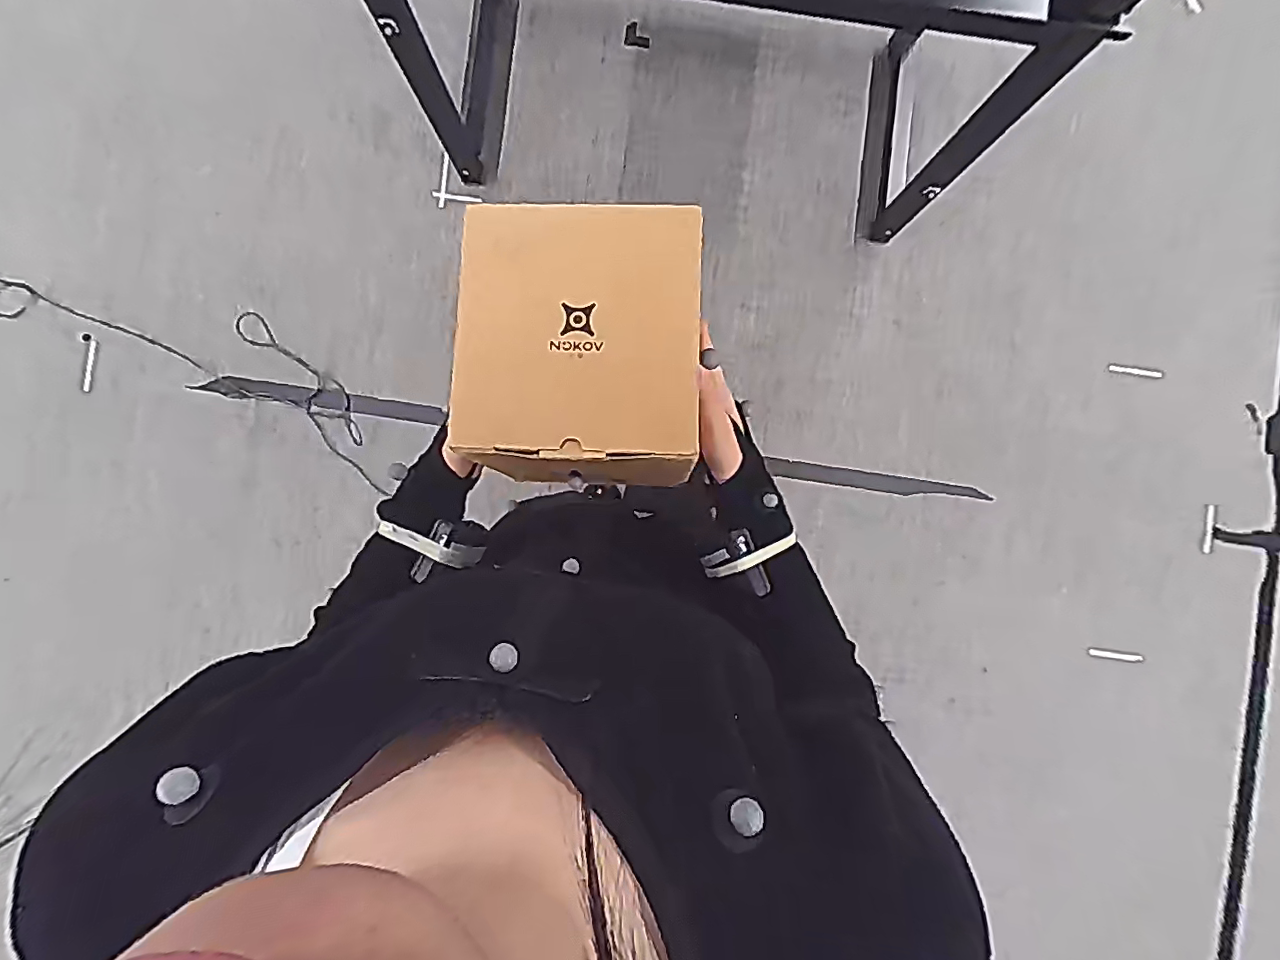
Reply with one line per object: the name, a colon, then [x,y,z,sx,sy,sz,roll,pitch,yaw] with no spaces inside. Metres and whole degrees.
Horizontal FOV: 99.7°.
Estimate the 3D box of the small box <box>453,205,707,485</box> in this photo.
small box: [-0.037,-0.094,0.442,0.168,0.176,0.179,1,84,2]
